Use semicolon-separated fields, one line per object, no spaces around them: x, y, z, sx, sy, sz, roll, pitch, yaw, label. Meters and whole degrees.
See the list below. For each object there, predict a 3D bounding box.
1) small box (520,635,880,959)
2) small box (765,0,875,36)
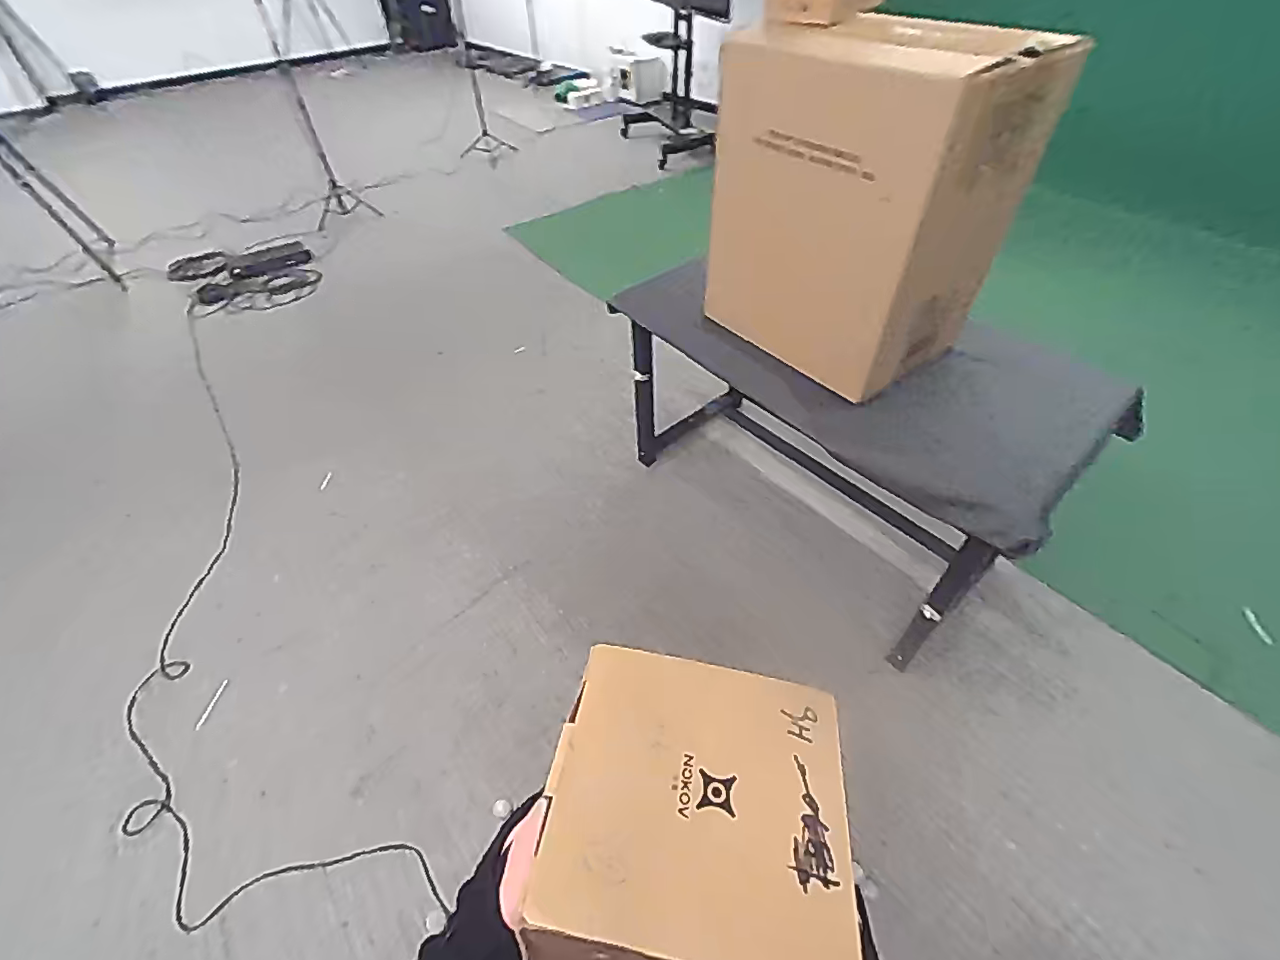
0.031;0.235;0.363;0.179;0.176;0.168;10;39;3;small box
0.363;-0.998;1.062;0.179;0.176;0.168;-34;55;-23;small box
